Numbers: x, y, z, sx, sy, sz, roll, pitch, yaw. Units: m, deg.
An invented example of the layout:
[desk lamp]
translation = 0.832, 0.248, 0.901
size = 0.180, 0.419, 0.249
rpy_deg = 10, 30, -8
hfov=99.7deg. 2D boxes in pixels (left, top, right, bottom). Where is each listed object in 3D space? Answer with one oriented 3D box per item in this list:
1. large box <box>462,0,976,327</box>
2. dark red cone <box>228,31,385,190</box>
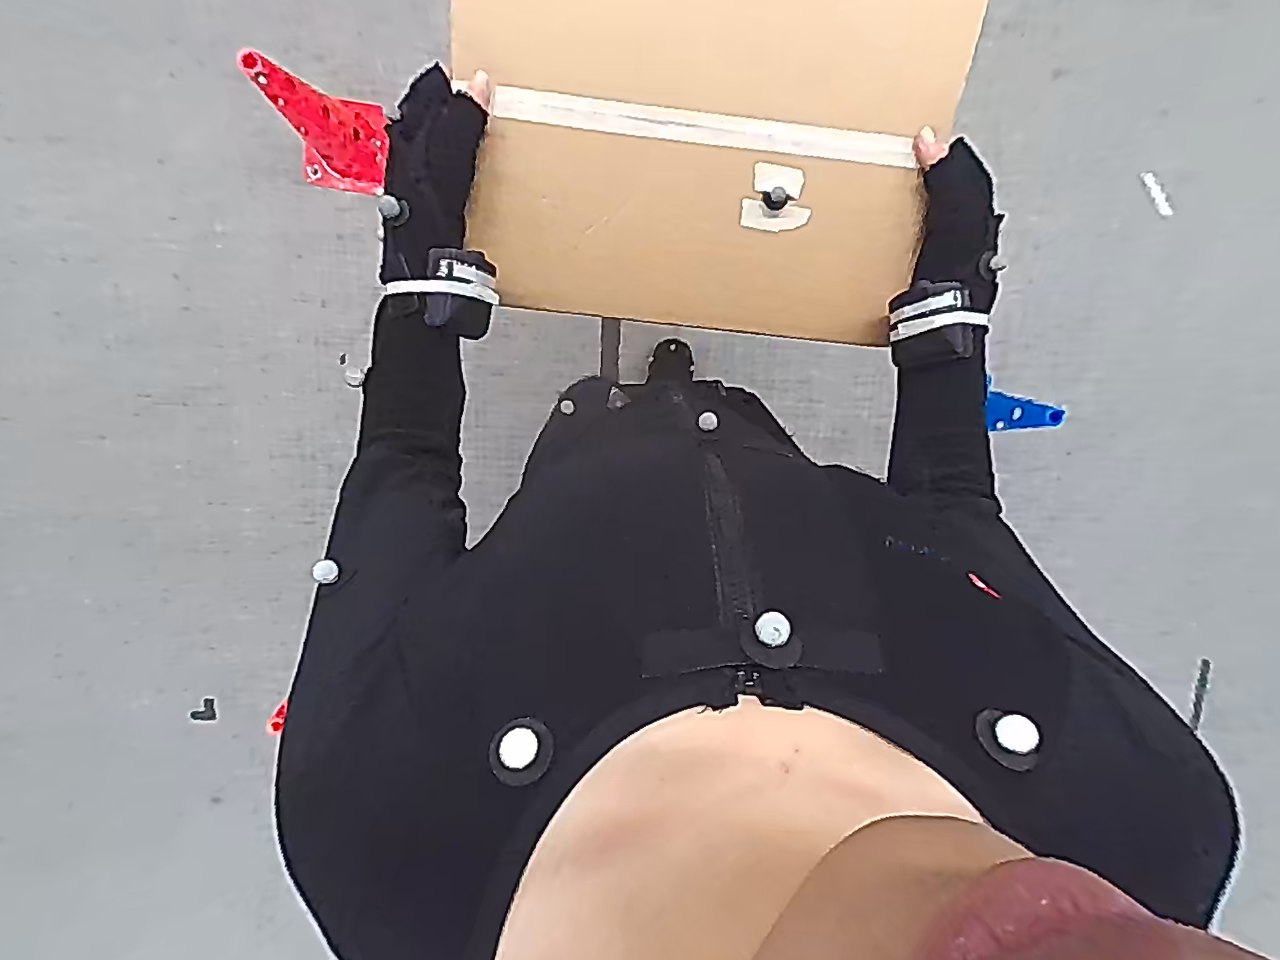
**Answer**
[large box]
translation = 0.049, -0.355, 0.582
size = 0.408, 0.320, 0.320
rpy_deg = 5, 113, -4
[dark red cone]
translation = -0.689, -0.765, 1.099
size = 0.201, 0.394, 0.202
rpy_deg = 7, 100, -5
